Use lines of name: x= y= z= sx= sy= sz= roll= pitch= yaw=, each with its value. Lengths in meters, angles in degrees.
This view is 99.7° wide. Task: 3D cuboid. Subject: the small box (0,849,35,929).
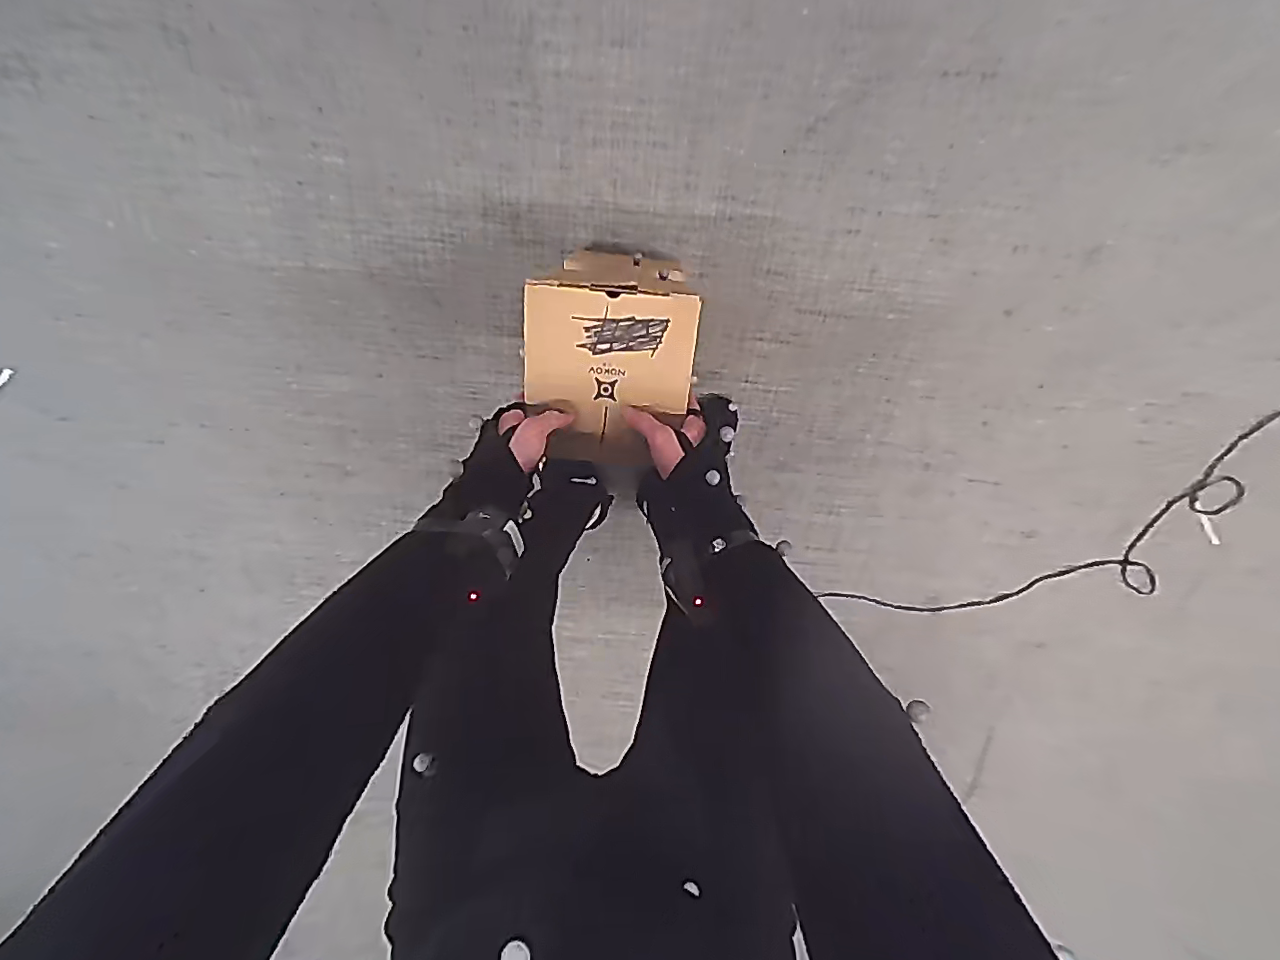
small box: x=-1.695 y=1.067 z=1.353 sx=0.179 sy=0.176 sz=0.168 roll=-30 pitch=-21 yaw=-38
